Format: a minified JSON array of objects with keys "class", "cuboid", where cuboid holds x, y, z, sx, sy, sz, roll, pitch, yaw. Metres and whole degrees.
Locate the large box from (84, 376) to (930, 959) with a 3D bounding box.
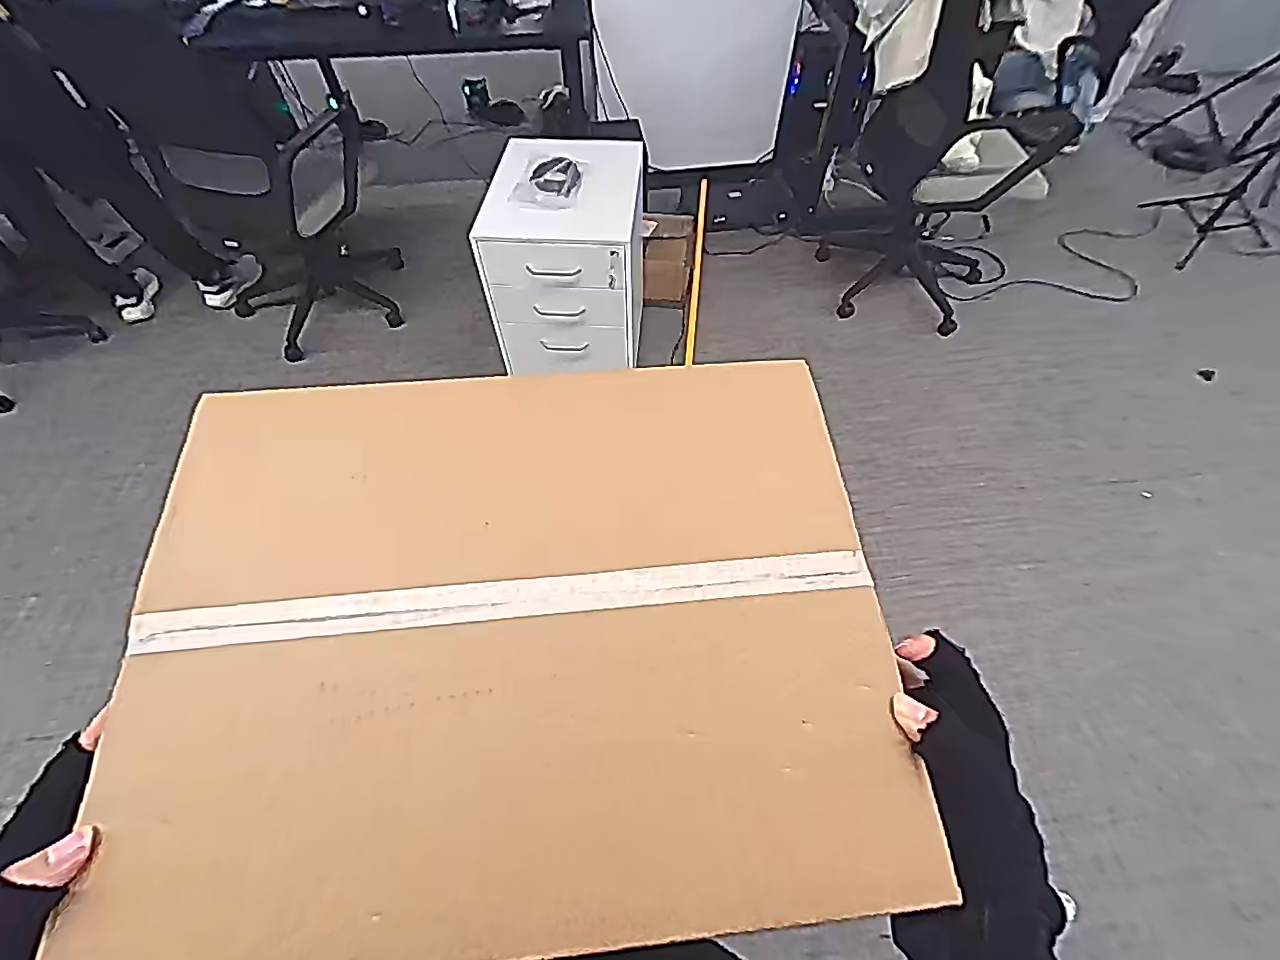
[{"class":"large box","cuboid":[-0.072,0.142,0.449,0.408,0.320,0.320,-4,65,-4]}]
